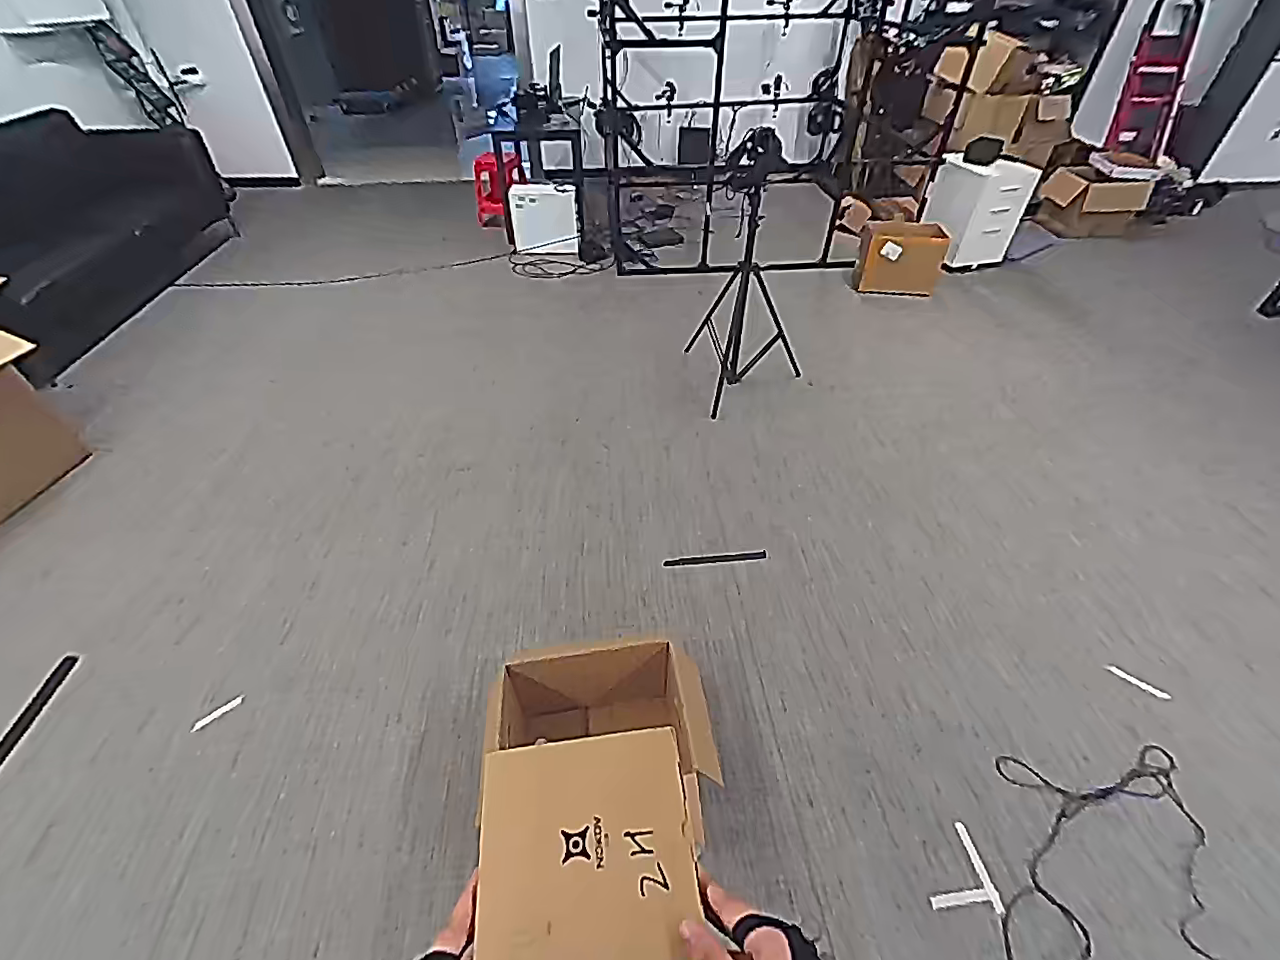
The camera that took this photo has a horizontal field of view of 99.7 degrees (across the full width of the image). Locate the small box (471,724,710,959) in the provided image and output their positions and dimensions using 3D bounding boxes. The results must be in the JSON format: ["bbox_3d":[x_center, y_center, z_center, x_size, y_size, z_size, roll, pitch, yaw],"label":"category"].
[{"bbox_3d":[-0.040,0.345,0.494,0.179,0.176,0.168,-6,48,-4],"label":"small box"}]
